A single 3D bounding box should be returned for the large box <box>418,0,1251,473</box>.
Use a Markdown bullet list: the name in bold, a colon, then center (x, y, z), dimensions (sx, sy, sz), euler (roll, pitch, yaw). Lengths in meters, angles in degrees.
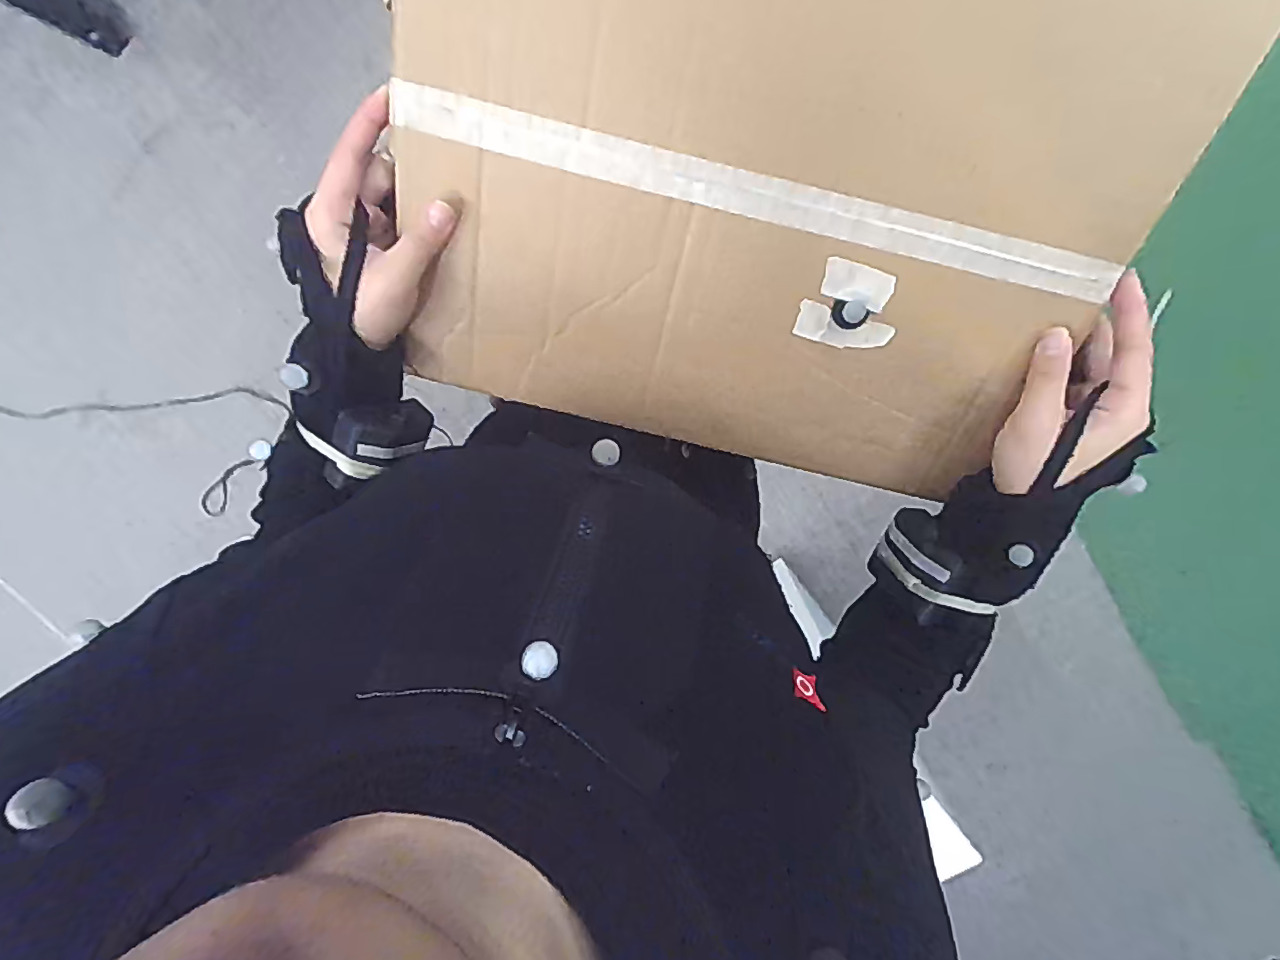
- **large box**: center (0.079, -0.243, 0.432), dimensions (0.408, 0.320, 0.320), euler (12, 121, -3)
